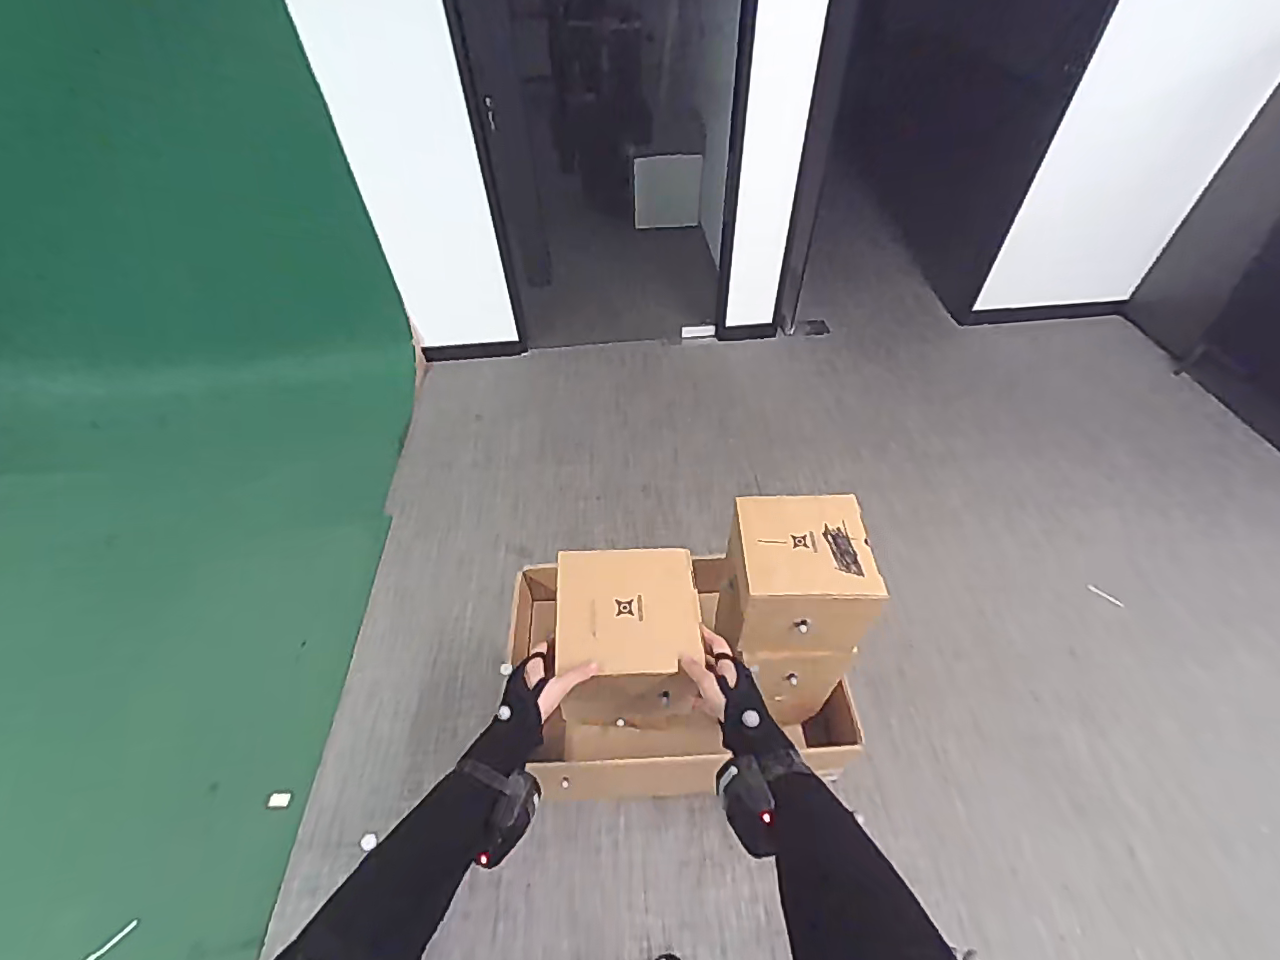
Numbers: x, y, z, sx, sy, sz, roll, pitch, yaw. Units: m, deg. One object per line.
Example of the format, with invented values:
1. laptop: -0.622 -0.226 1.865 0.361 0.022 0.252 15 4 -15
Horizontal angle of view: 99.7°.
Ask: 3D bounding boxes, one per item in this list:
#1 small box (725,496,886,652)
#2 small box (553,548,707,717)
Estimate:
1. small box: 0.225 0.139 0.788 0.179 0.176 0.168 -1 48 2
2. small box: -0.019 0.204 0.716 0.179 0.176 0.168 -1 51 -4
